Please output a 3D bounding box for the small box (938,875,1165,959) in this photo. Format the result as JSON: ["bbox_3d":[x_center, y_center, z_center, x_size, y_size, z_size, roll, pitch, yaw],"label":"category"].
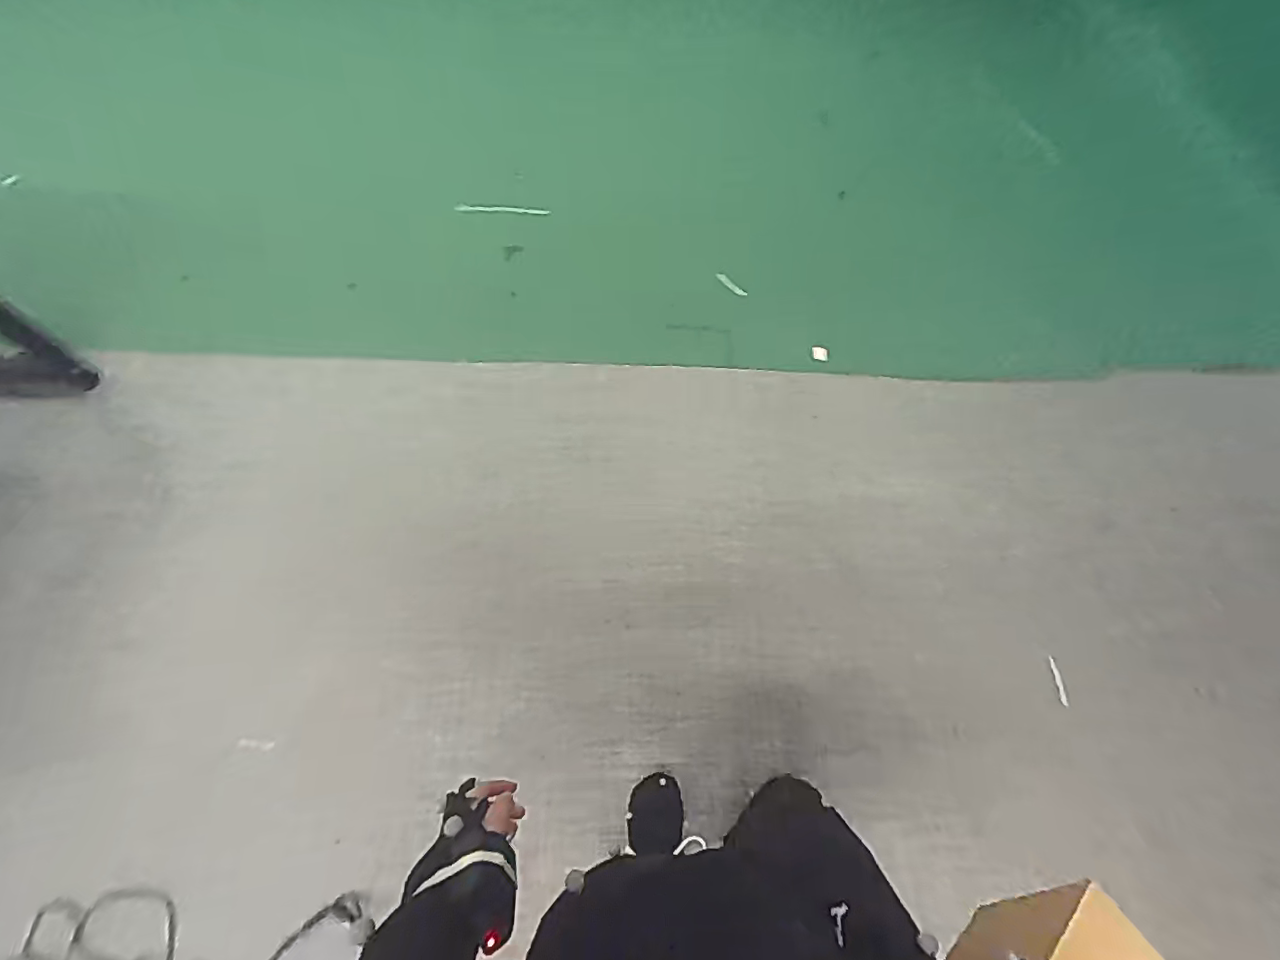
[{"bbox_3d":[0.424,0.543,0.538,0.179,0.176,0.168,-14,54,-35],"label":"small box"}]
